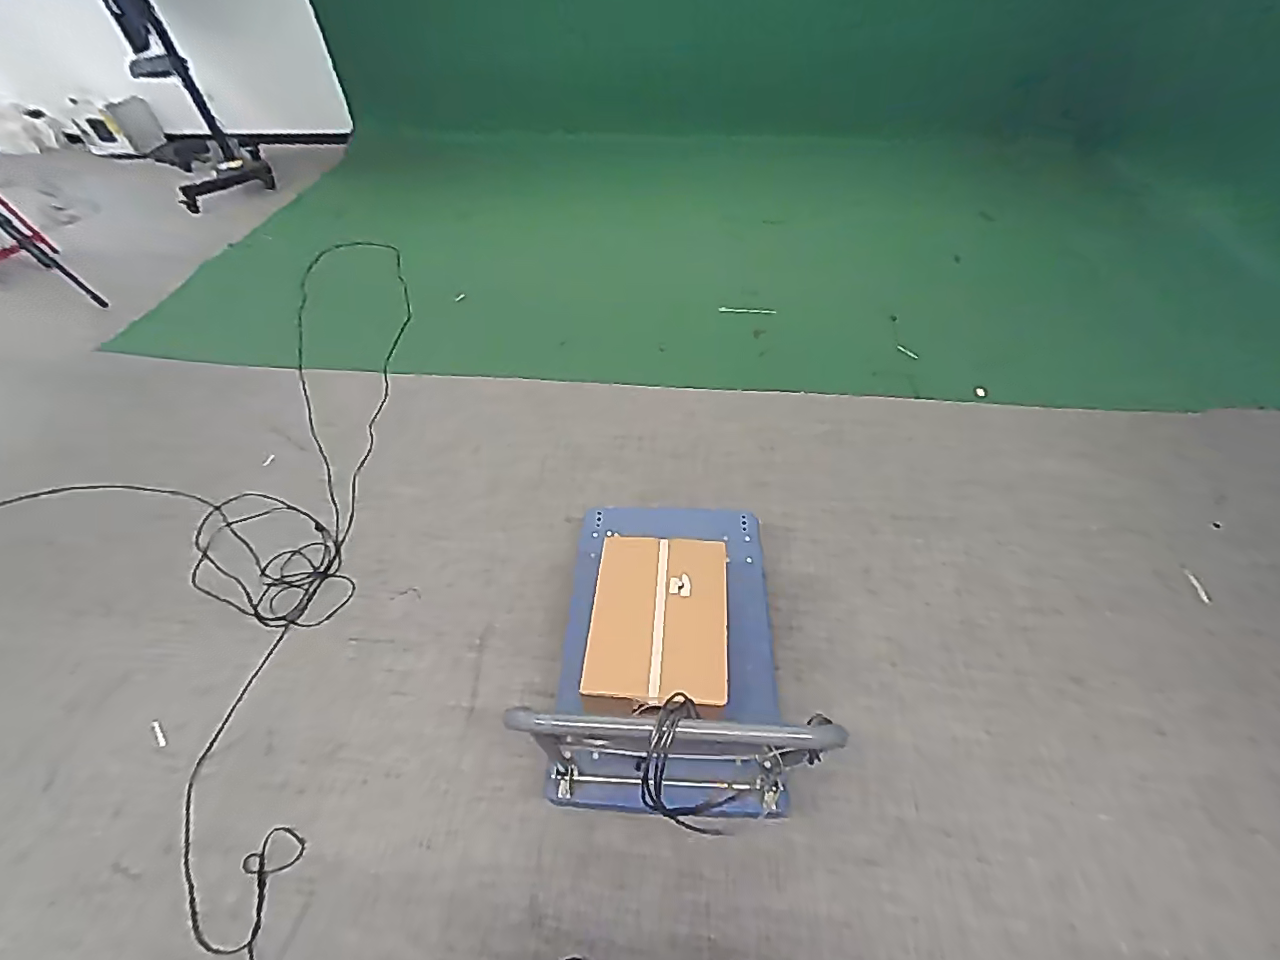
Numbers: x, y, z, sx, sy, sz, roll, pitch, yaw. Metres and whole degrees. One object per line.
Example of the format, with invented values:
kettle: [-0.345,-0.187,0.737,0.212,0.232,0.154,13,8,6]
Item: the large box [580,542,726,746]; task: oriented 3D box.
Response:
large box: [0.046,0.413,1.368,0.320,0.320,0.408,3,49,5]
